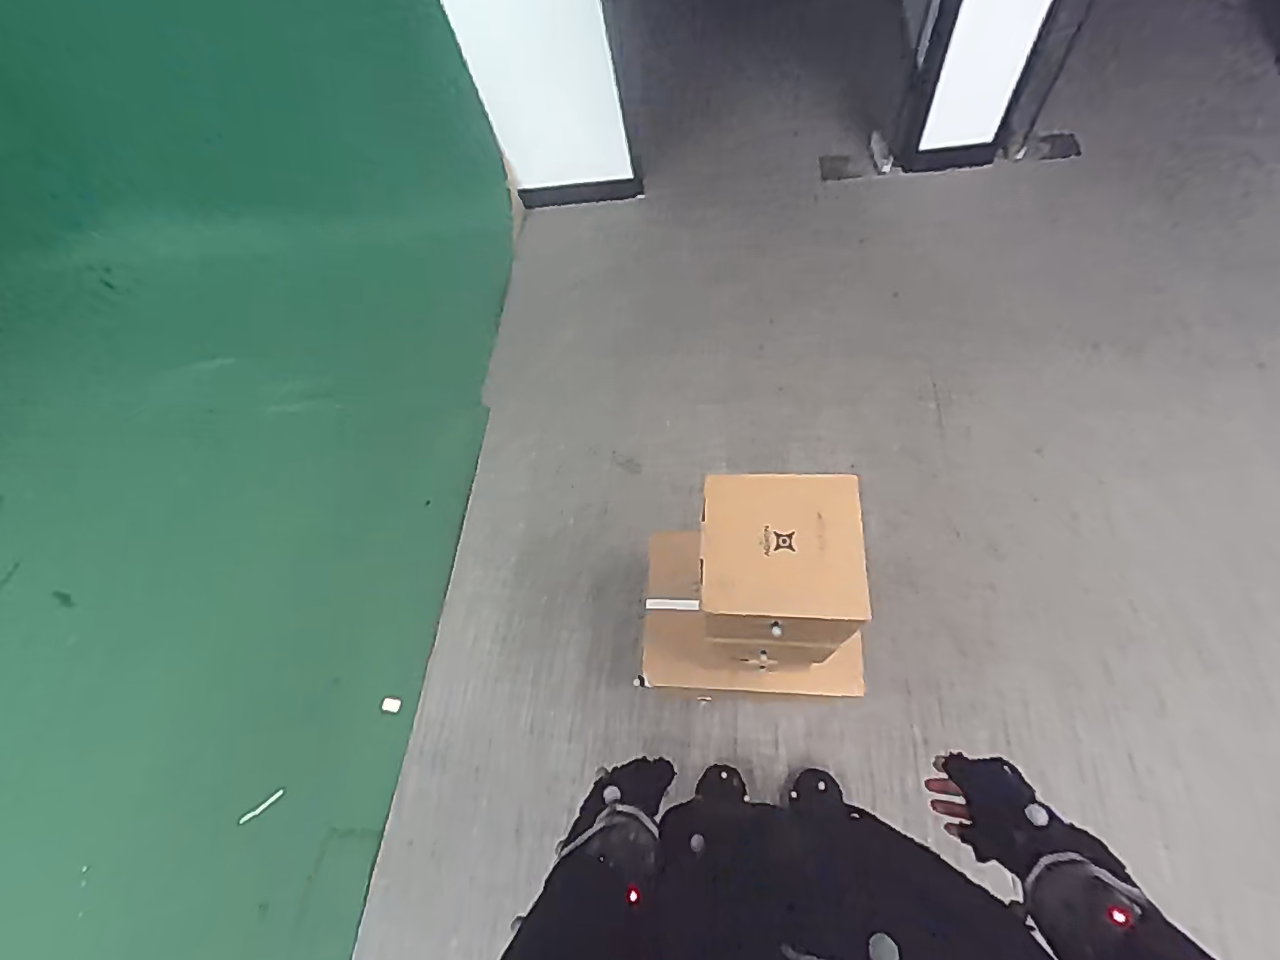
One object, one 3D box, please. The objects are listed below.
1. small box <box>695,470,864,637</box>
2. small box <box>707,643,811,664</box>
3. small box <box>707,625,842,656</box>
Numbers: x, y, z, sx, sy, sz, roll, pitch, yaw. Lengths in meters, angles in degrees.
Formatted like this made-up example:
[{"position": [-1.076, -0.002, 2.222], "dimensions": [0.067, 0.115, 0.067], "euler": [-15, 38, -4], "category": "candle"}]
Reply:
[{"position": [0.165, 0.097, 0.670], "dimensions": [0.179, 0.176, 0.168], "euler": [1, 67, 10], "category": "small box"}, {"position": [0.208, 0.231, 0.965], "dimensions": [0.168, 0.176, 0.179], "euler": [-2, 66, 10], "category": "small box"}, {"position": [0.190, 0.170, 0.813], "dimensions": [0.179, 0.176, 0.168], "euler": [-2, 66, 8], "category": "small box"}]
